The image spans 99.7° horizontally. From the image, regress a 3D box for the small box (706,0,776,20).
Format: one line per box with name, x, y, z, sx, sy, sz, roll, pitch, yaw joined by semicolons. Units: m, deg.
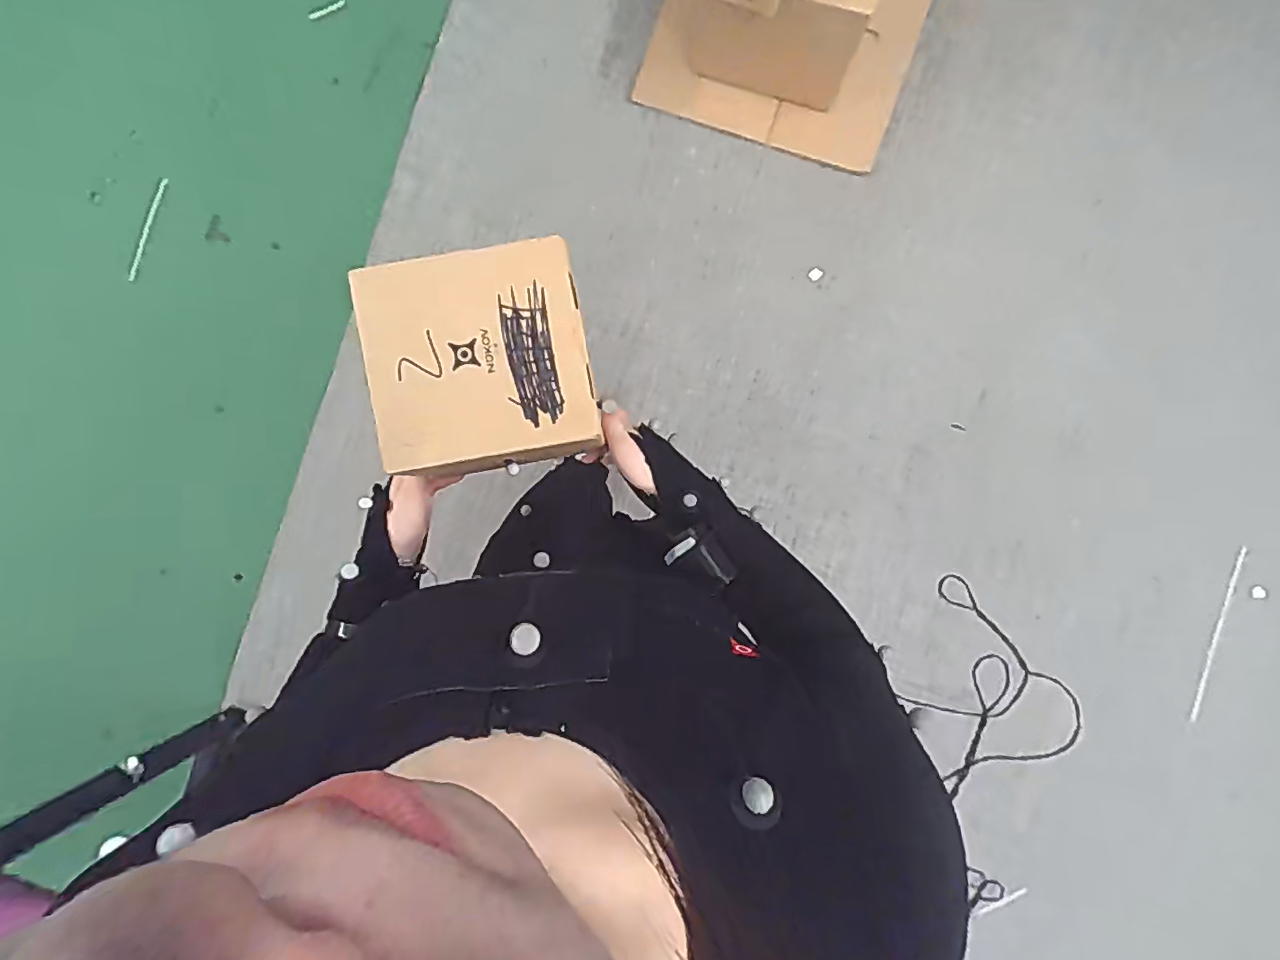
small box;0.233;-1.116;1.109;0.168;0.176;0.179;20;92;2
